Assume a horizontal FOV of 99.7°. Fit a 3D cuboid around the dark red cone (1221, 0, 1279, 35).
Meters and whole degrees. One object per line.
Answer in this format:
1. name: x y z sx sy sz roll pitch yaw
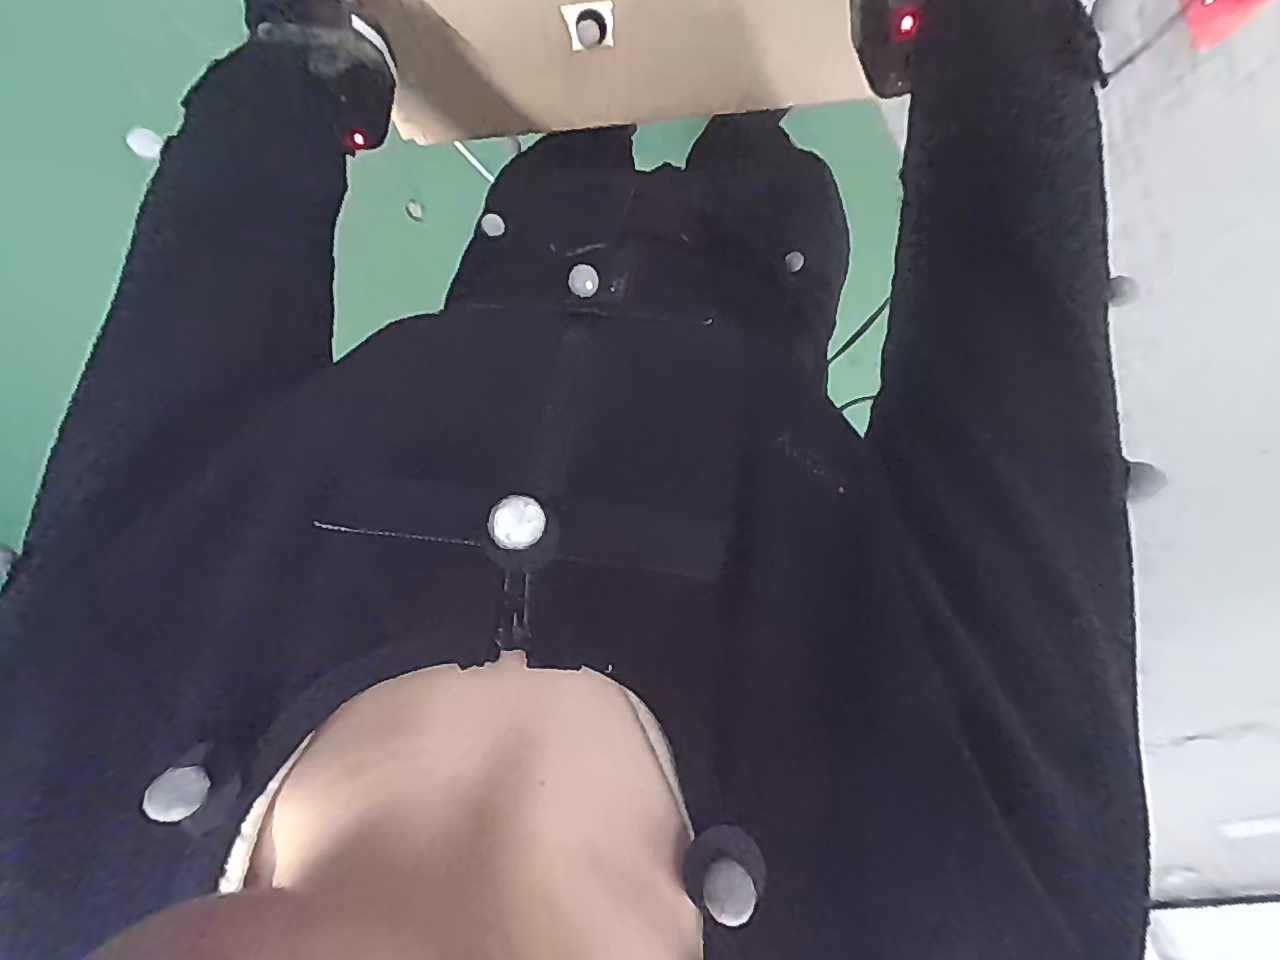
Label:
1. dark red cone: 0.967 -0.705 0.686 0.202 0.394 0.201 33 130 -26
